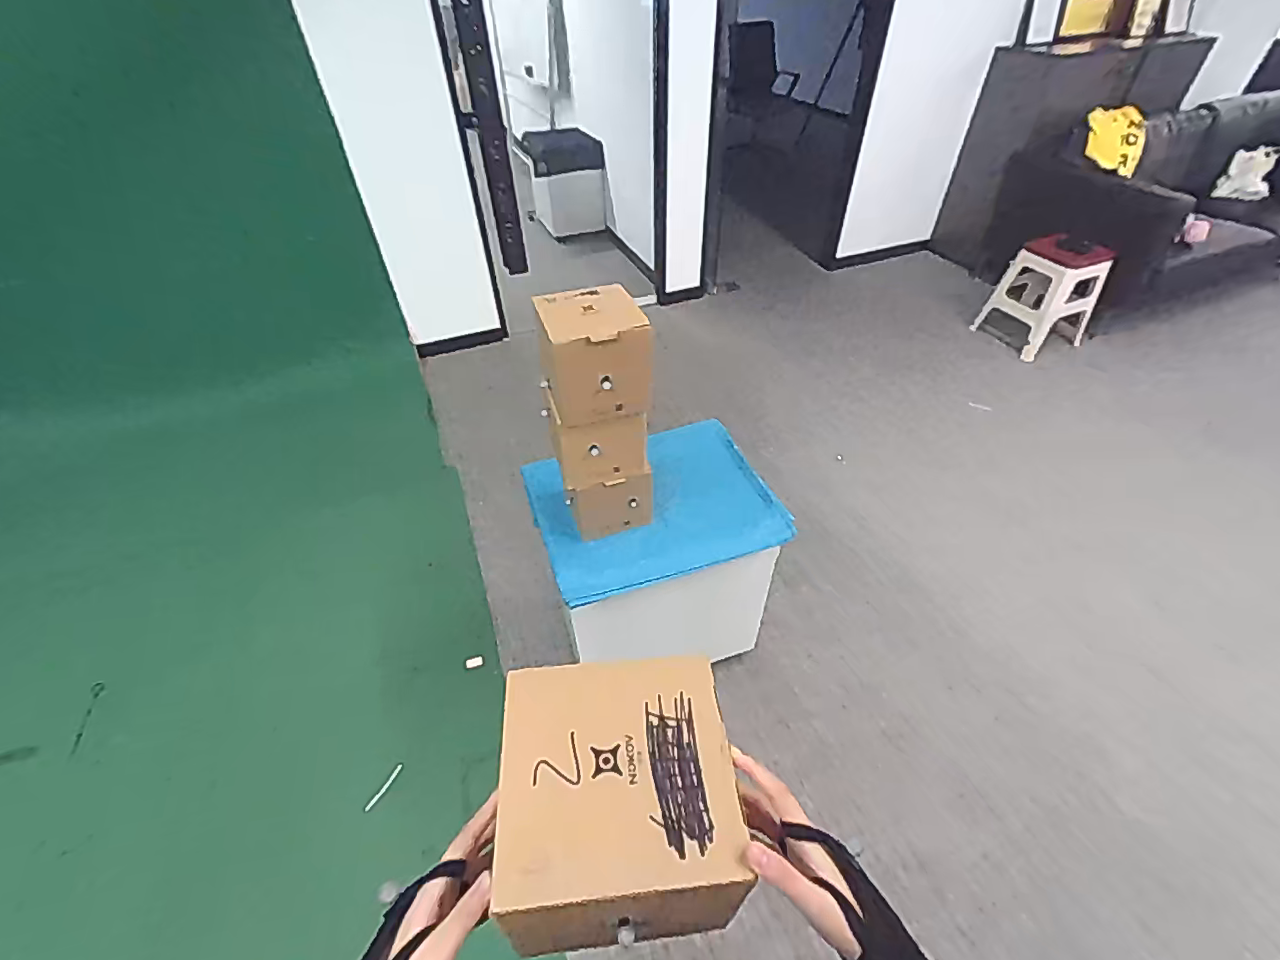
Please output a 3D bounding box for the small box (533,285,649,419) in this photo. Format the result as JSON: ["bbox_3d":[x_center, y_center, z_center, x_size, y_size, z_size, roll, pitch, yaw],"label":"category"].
[{"bbox_3d":[-0.084,-0.222,0.960,0.168,0.176,0.179,-13,45,-13],"label":"small box"}]

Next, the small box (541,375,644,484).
[{"bbox_3d":[-0.092,-0.109,1.079,0.168,0.176,0.179,-12,44,-13],"label":"small box"}]

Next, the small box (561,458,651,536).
[{"bbox_3d":[-0.079,0.006,1.193,0.168,0.176,0.179,-13,44,-14],"label":"small box"}]
